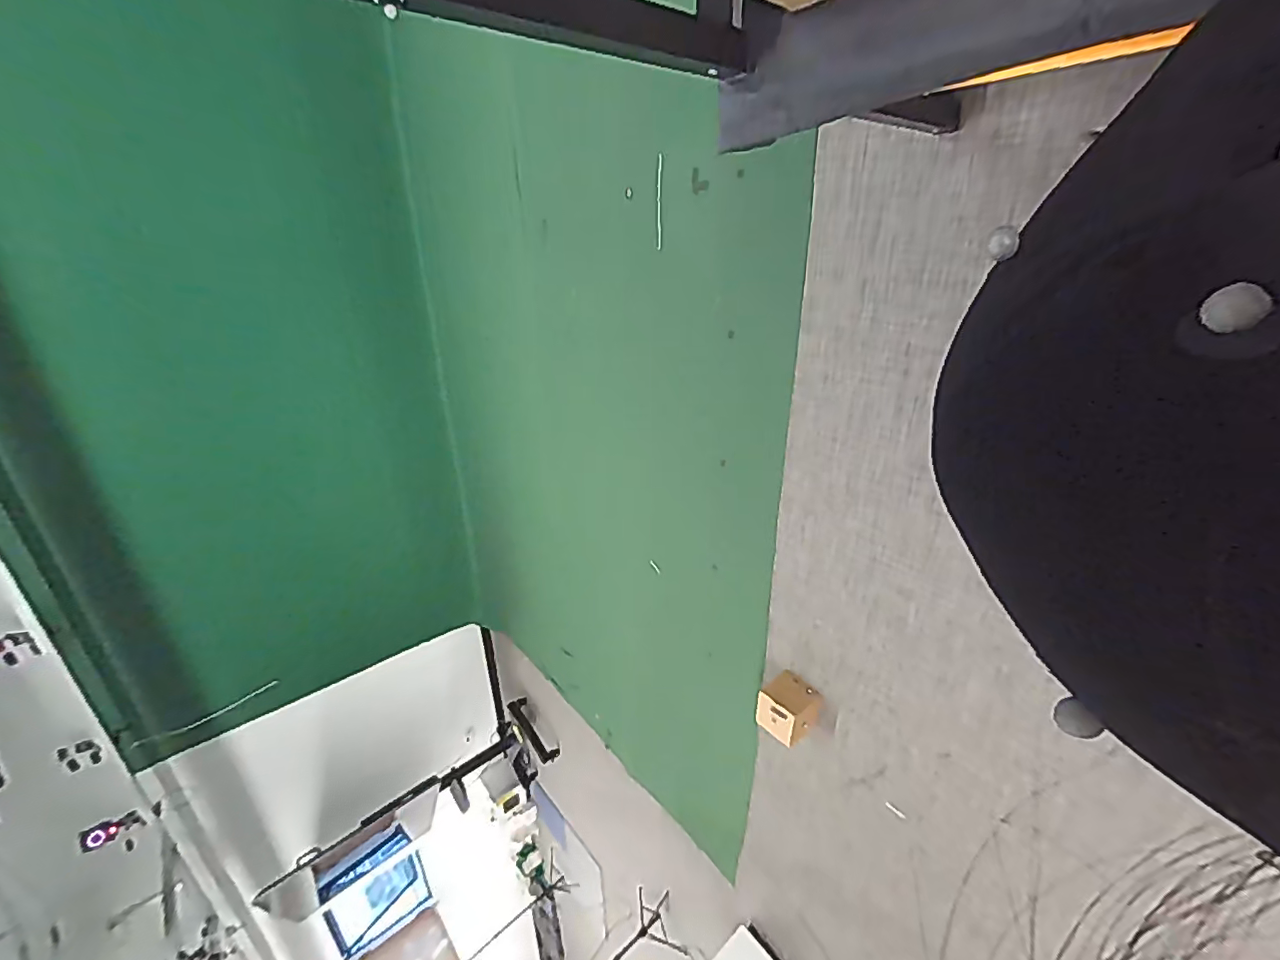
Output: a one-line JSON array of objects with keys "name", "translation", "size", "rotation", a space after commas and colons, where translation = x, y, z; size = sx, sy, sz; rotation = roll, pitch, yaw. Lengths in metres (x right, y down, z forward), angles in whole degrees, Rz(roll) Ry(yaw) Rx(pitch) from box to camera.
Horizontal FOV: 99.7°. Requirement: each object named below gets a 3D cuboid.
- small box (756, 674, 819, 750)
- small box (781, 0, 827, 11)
[{"name": "small box", "translation": [0.578, 0.898, 2.110], "size": [0.168, 0.176, 0.179], "rotation": [27, 127, 44]}, {"name": "small box", "translation": [0.202, -0.681, 0.609], "size": [0.168, 0.176, 0.179], "rotation": [22, 123, 45]}]
